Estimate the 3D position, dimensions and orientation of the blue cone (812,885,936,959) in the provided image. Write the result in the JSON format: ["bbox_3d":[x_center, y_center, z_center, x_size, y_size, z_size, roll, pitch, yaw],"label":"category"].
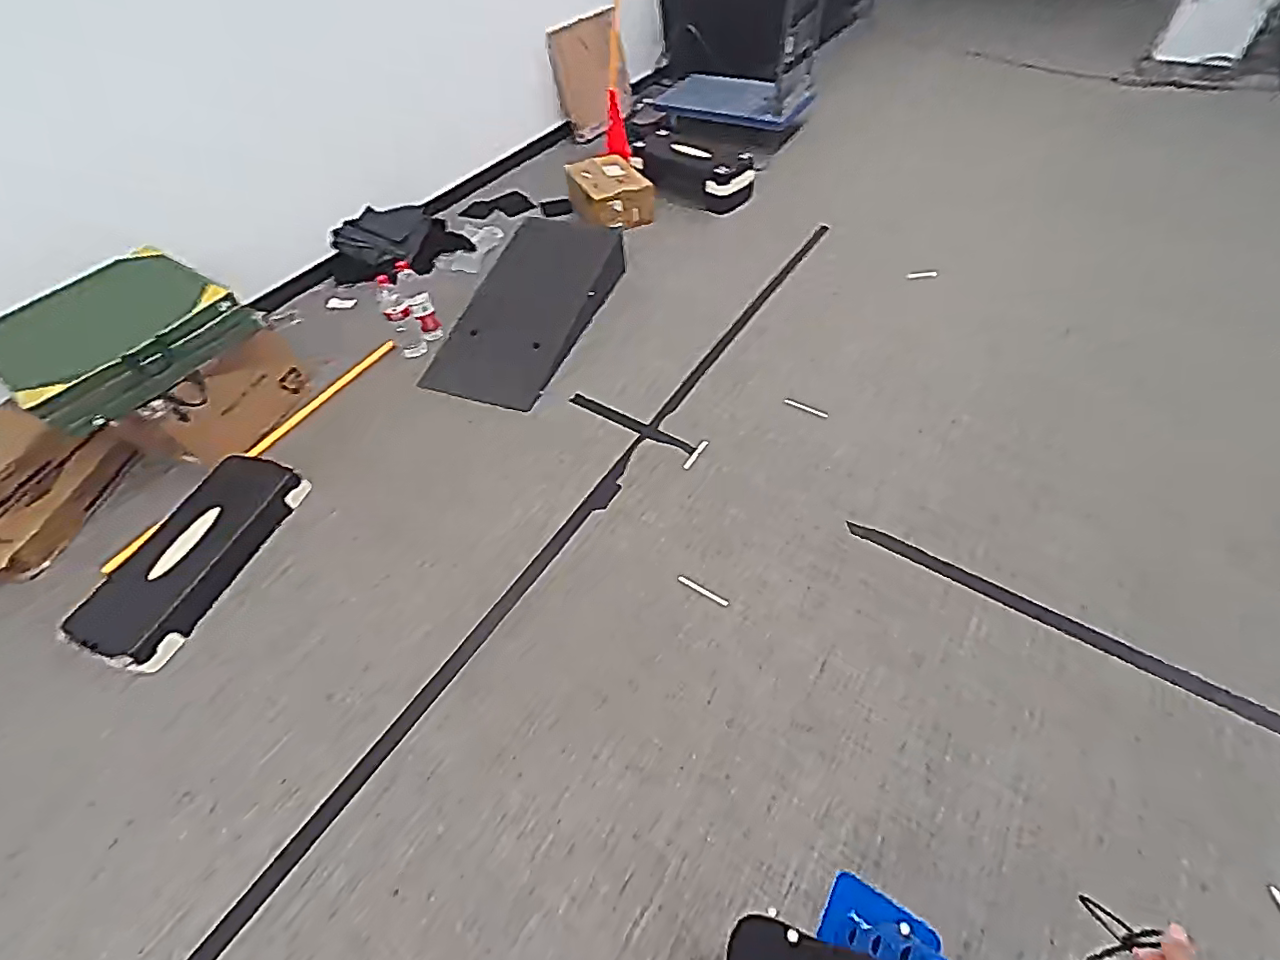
[{"bbox_3d":[0.412,0.779,0.856,0.193,0.380,0.192,26,59,24],"label":"blue cone"}]
